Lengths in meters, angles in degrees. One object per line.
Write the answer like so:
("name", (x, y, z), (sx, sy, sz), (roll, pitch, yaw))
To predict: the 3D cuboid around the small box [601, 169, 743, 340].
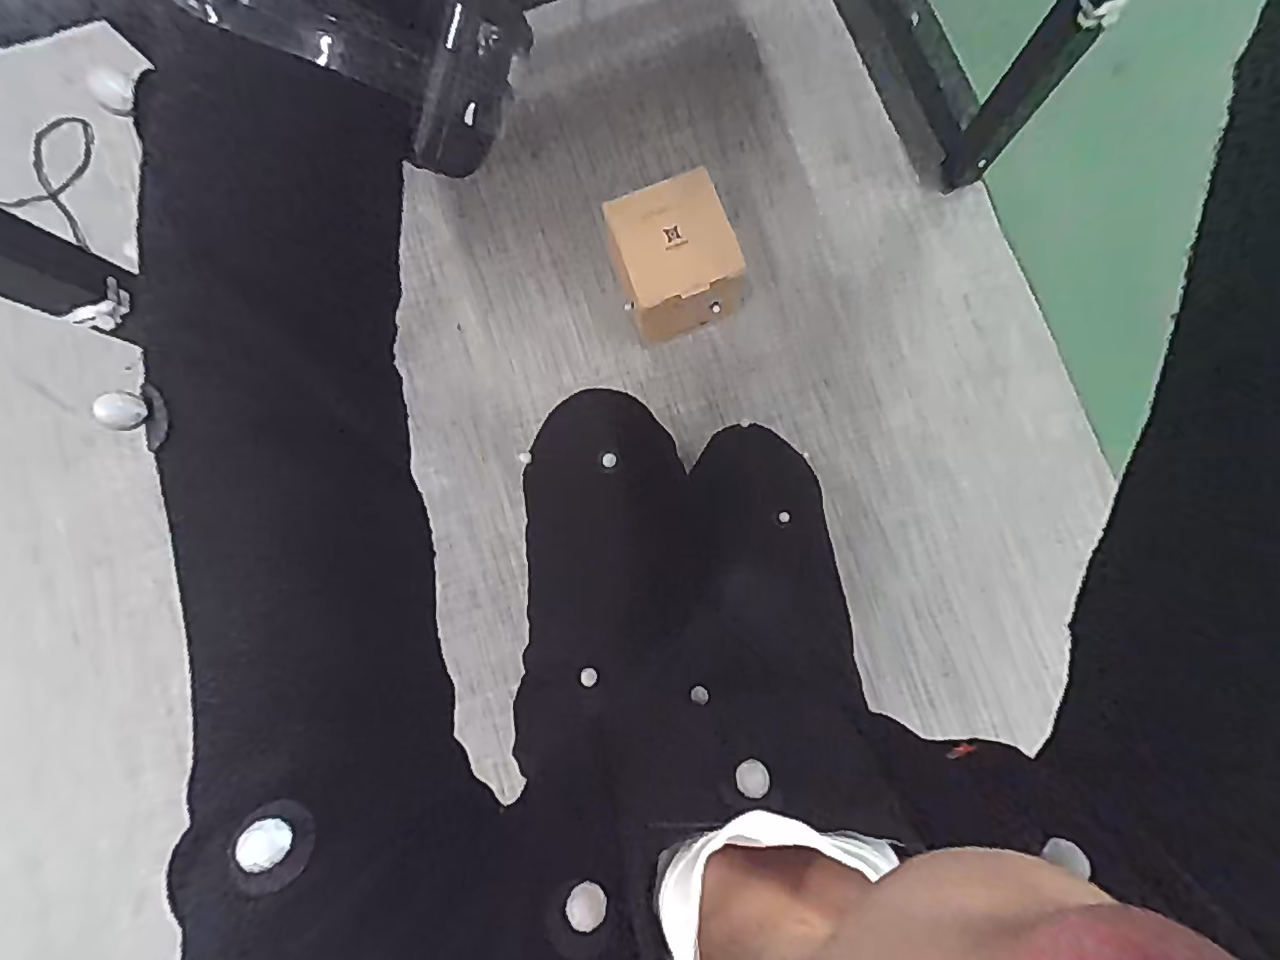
("small box", (0.051, -0.345, 0.868), (0.168, 0.176, 0.179), (-21, 82, 0))
